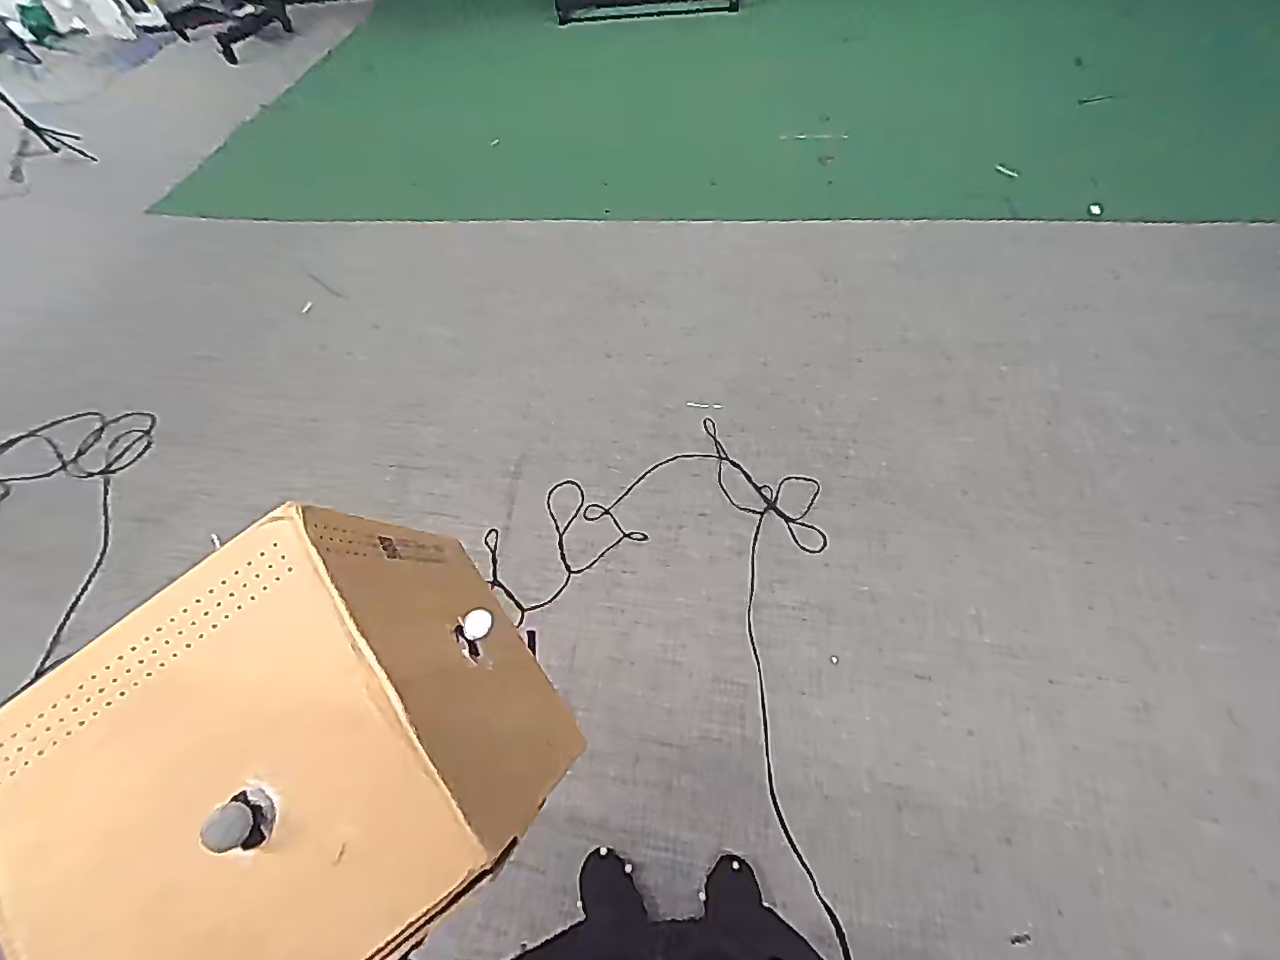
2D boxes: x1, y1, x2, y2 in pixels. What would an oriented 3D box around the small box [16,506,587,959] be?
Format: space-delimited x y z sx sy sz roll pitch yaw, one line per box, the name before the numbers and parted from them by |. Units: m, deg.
small box | -0.159 0.135 0.295 0.179 0.168 0.176 -38 77 -2
